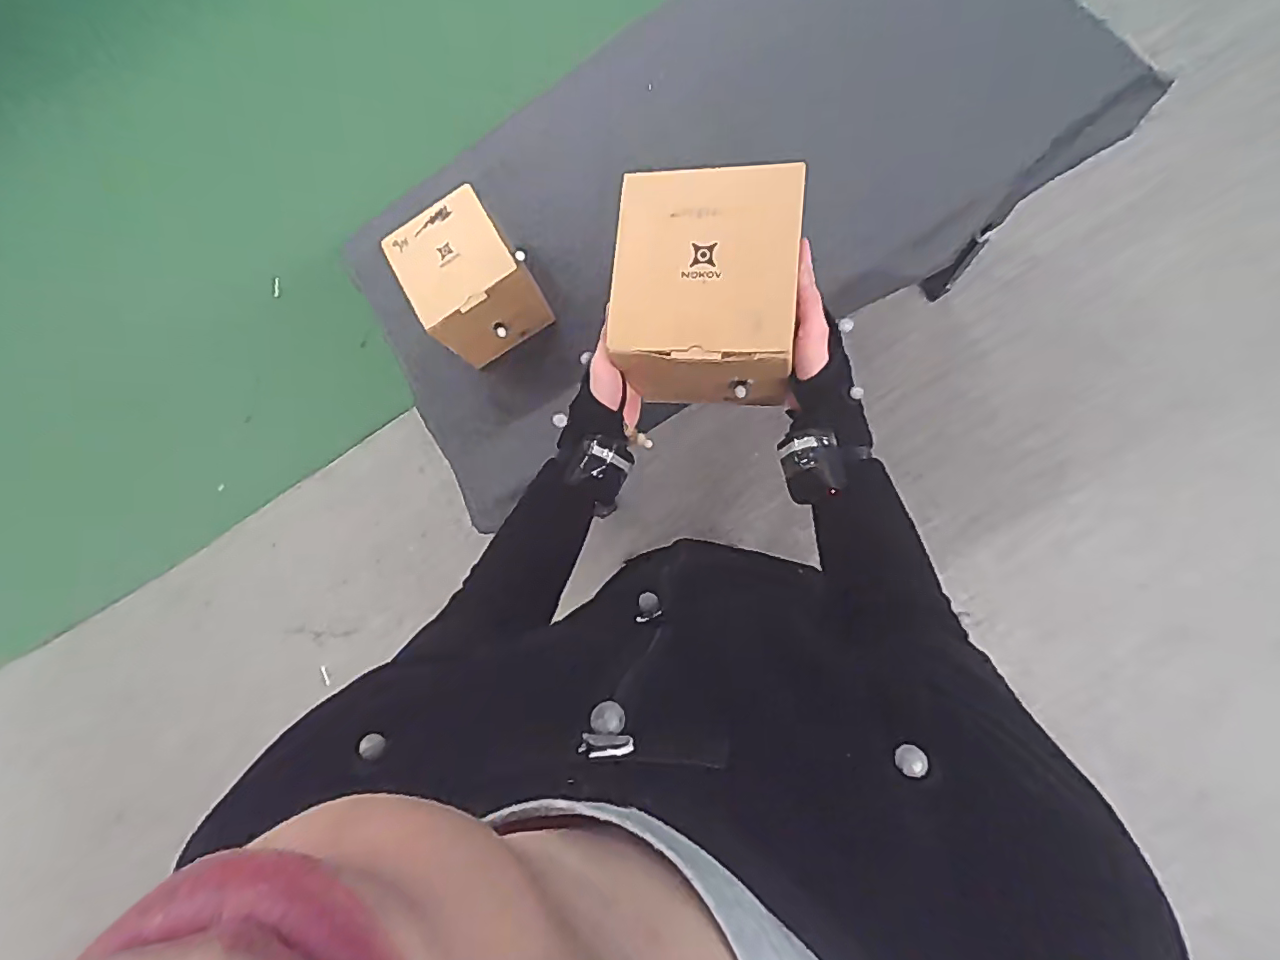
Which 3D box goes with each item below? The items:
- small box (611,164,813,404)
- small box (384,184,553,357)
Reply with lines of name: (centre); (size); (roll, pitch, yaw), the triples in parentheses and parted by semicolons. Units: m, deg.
small box: (0.078, -0.184, 0.553); (0.168, 0.176, 0.179); (5, 82, 11)
small box: (-0.265, -0.321, 0.875); (0.168, 0.176, 0.179); (-30, 79, 4)
